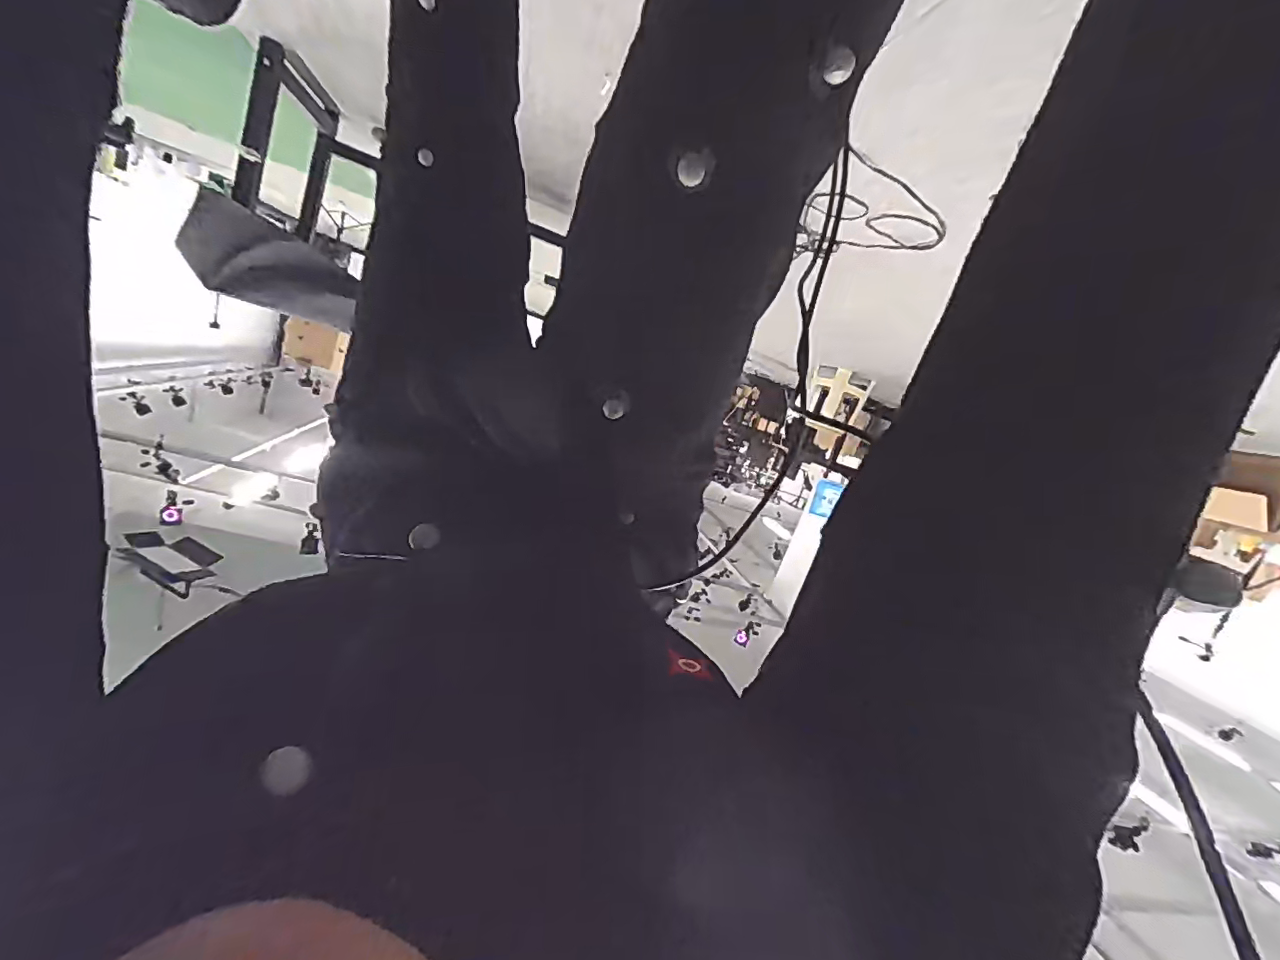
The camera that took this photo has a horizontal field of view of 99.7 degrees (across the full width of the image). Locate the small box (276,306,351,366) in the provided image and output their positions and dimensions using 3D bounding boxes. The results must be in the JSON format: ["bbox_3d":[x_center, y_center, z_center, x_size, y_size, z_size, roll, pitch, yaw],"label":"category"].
[{"bbox_3d":[-1.173,-0.521,1.951,0.168,0.176,0.179,18,-169,-11],"label":"small box"}]
